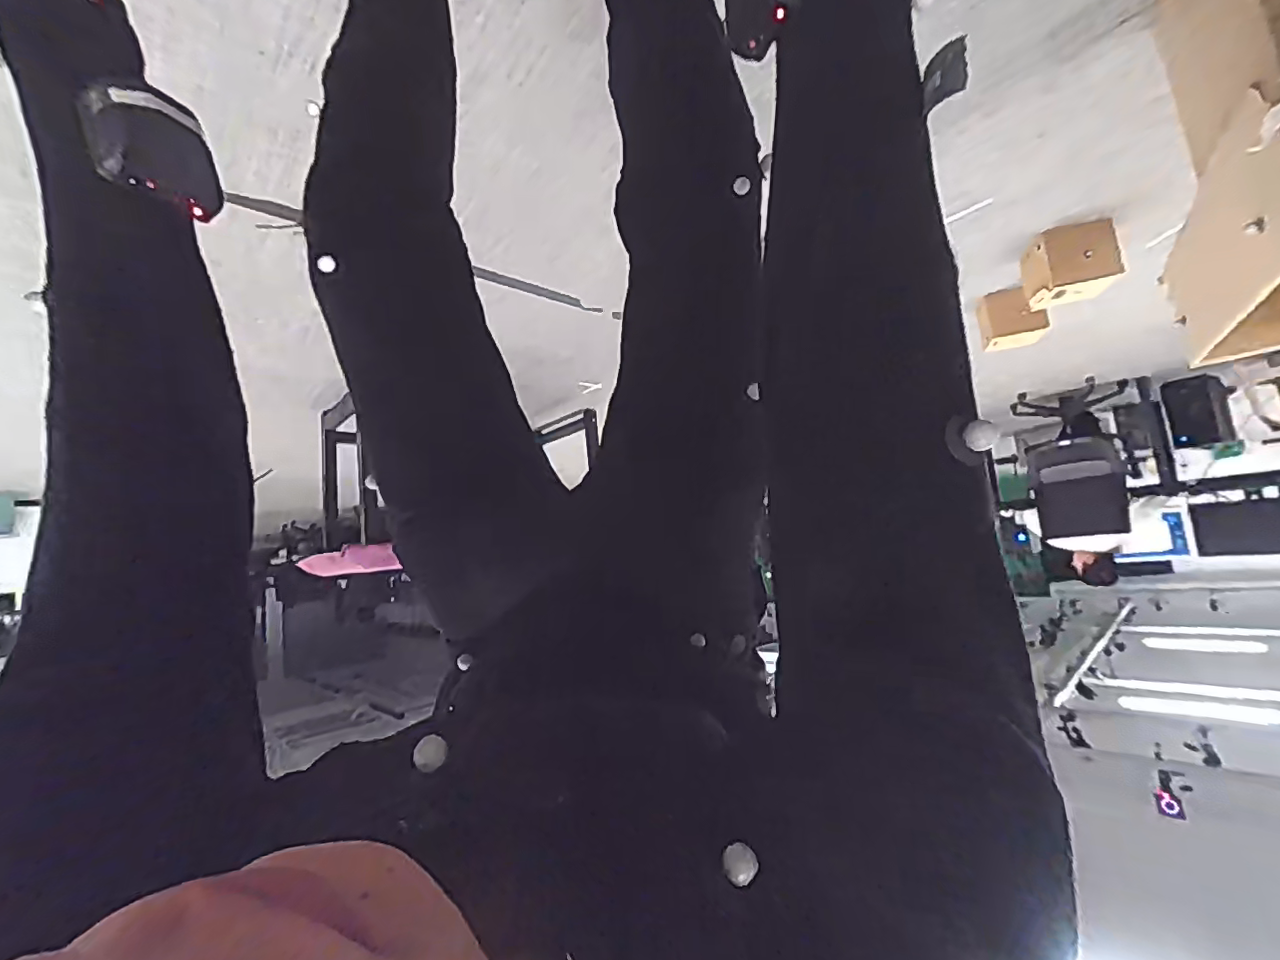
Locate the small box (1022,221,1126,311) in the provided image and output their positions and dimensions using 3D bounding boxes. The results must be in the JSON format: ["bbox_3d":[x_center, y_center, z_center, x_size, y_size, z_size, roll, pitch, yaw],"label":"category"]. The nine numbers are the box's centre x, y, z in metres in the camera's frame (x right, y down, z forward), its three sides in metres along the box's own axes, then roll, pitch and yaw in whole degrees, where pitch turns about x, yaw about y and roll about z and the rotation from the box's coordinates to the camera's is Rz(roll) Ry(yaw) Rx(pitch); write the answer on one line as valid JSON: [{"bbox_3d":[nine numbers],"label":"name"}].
[{"bbox_3d":[1.260,-0.624,1.585,0.179,0.176,0.168,-8,172,14],"label":"small box"}]

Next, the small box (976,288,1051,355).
[{"bbox_3d":[1.352,-0.579,1.968,0.179,0.176,0.168,-10,171,21],"label":"small box"}]
